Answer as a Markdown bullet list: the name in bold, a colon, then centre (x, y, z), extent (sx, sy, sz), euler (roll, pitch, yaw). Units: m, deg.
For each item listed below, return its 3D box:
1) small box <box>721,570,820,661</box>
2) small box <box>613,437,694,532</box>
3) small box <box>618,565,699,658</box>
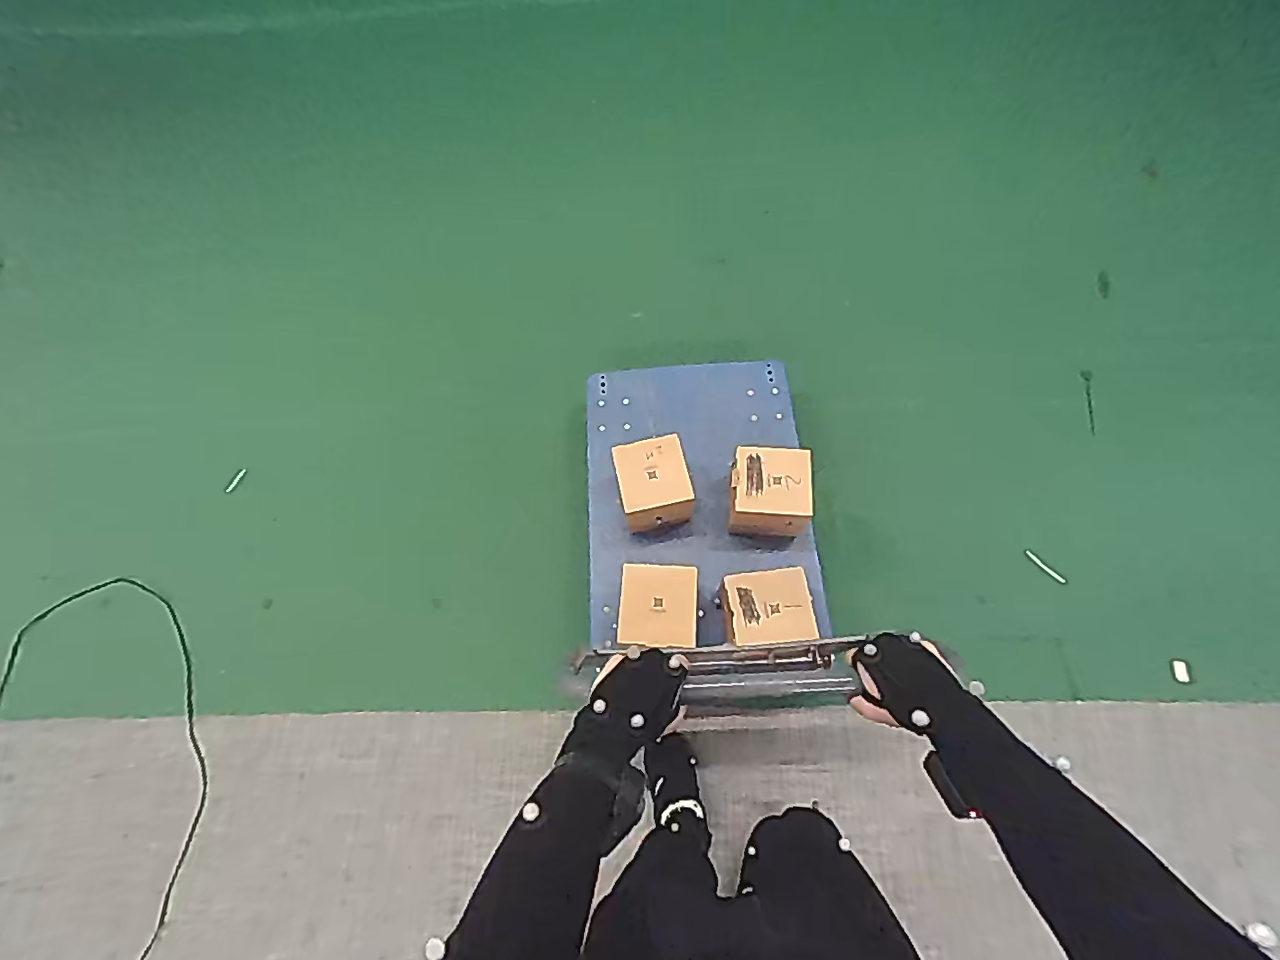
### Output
- **small box**: centre (0.279, 0.307, 1.207), extent (0.179, 0.176, 0.168), euler (-6, 68, 0)
- **small box**: centre (0.035, 0.019, 1.340), extent (0.168, 0.176, 0.179), euler (-11, 68, -2)
- **small box**: centre (0.043, 0.301, 1.224), extent (0.168, 0.176, 0.179), euler (3, 68, 3)
